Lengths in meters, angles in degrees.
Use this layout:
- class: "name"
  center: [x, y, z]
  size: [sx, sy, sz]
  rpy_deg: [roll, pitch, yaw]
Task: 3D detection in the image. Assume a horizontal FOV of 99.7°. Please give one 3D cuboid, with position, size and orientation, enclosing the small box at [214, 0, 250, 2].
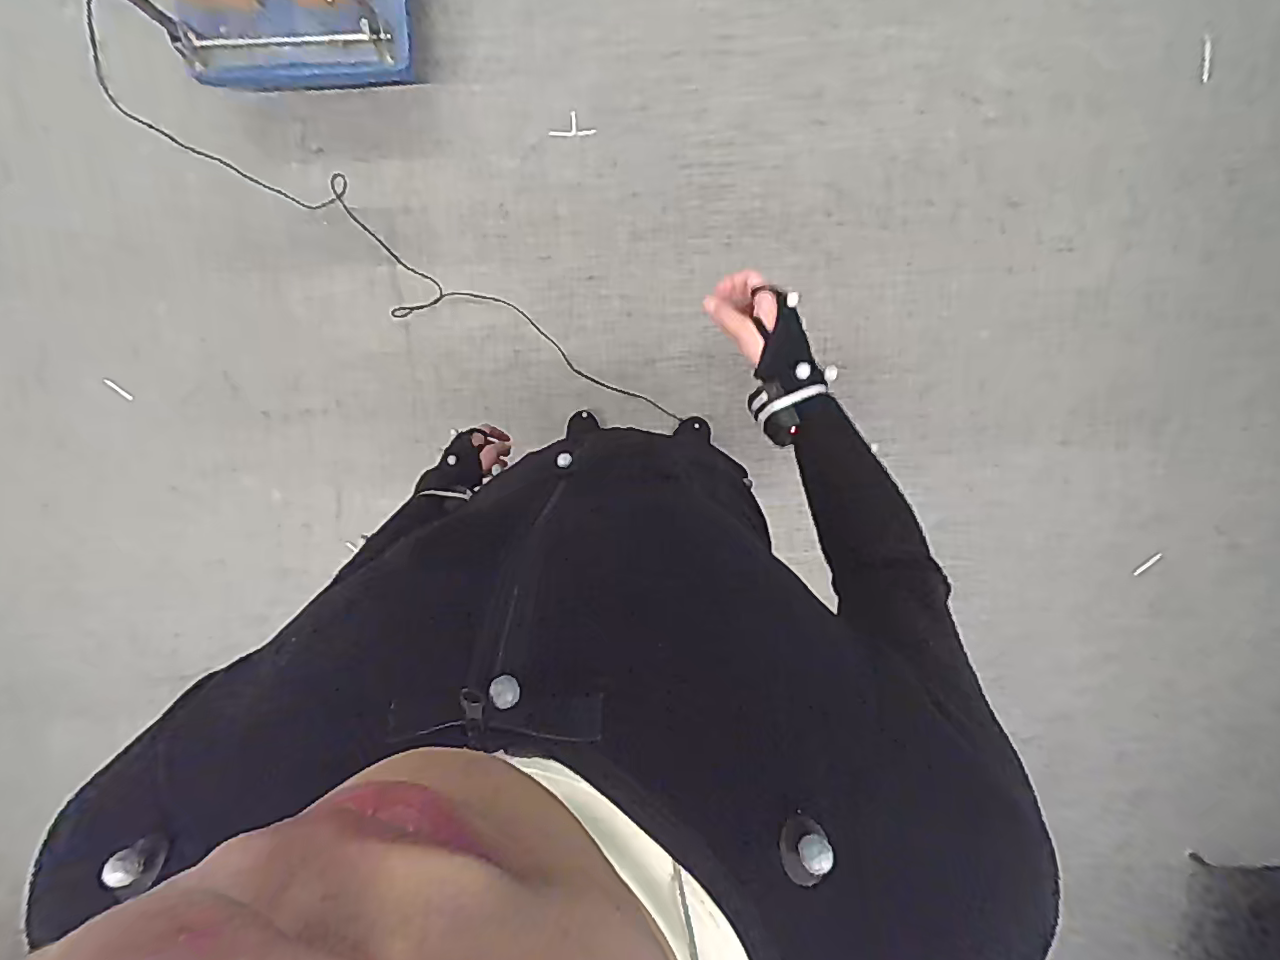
- class: "small box"
  center: [-1.007, -1.239, 1.230]
  size: [0.179, 0.176, 0.168]
  rpy_deg: [2, 97, 1]
